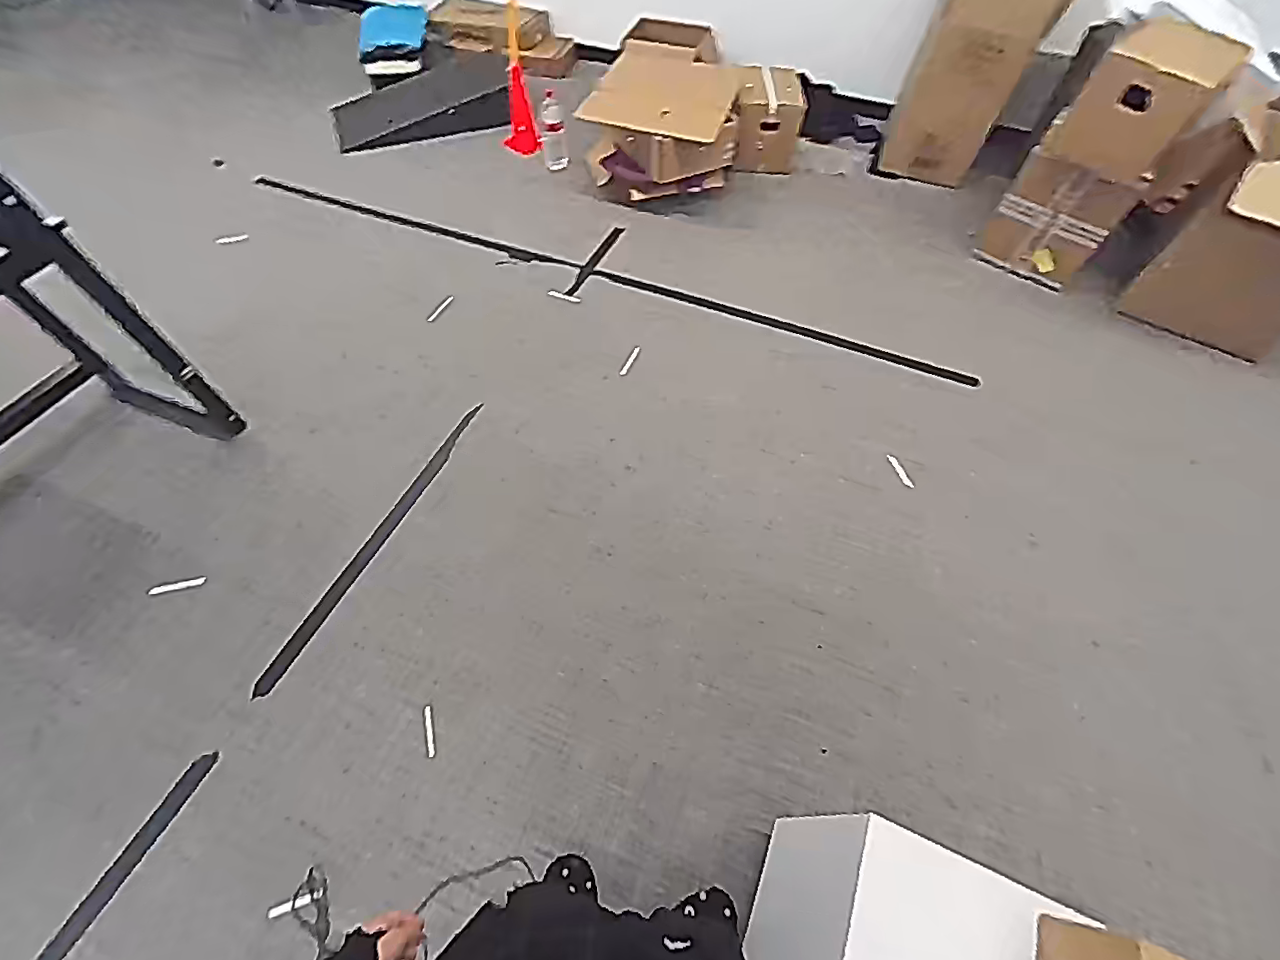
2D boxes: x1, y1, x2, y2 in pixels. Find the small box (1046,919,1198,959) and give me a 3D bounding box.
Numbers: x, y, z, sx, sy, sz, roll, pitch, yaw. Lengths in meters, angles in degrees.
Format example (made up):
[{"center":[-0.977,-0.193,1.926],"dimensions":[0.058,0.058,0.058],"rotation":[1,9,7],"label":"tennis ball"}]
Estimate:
[{"center":[0.560,0.602,0.569],"dimensions":[0.179,0.176,0.168],"rotation":[21,61,14],"label":"small box"}]
